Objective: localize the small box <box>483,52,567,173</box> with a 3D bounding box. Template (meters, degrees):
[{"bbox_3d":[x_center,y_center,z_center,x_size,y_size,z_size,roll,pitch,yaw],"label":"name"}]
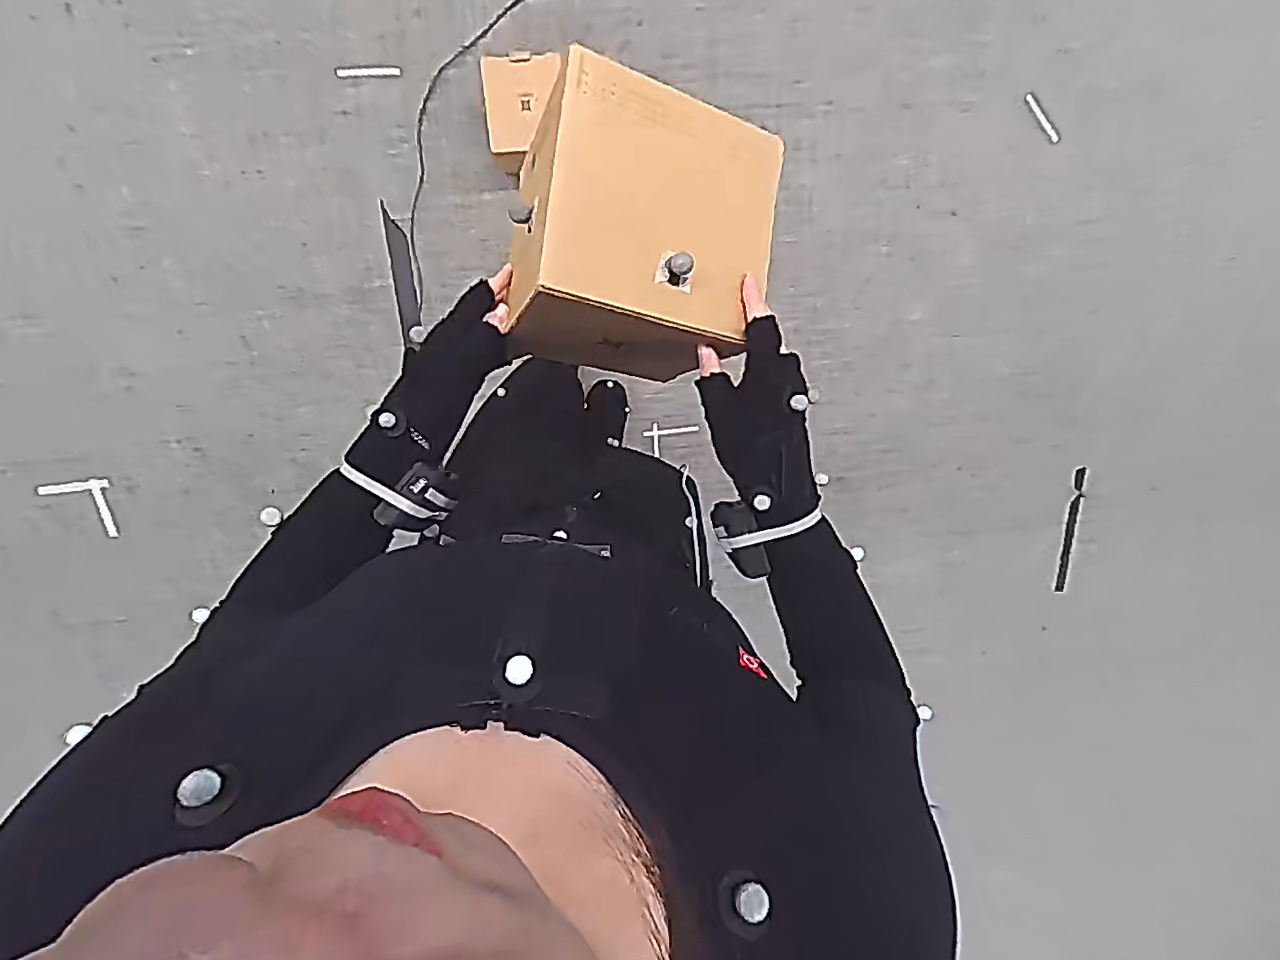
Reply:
[{"bbox_3d":[-0.237,-0.794,1.183,0.168,0.176,0.179,-4,106,-2],"label":"small box"}]

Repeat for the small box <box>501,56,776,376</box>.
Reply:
[{"bbox_3d":[-0.007,-0.200,0.455,0.179,0.168,0.176,7,87,-23],"label":"small box"}]
